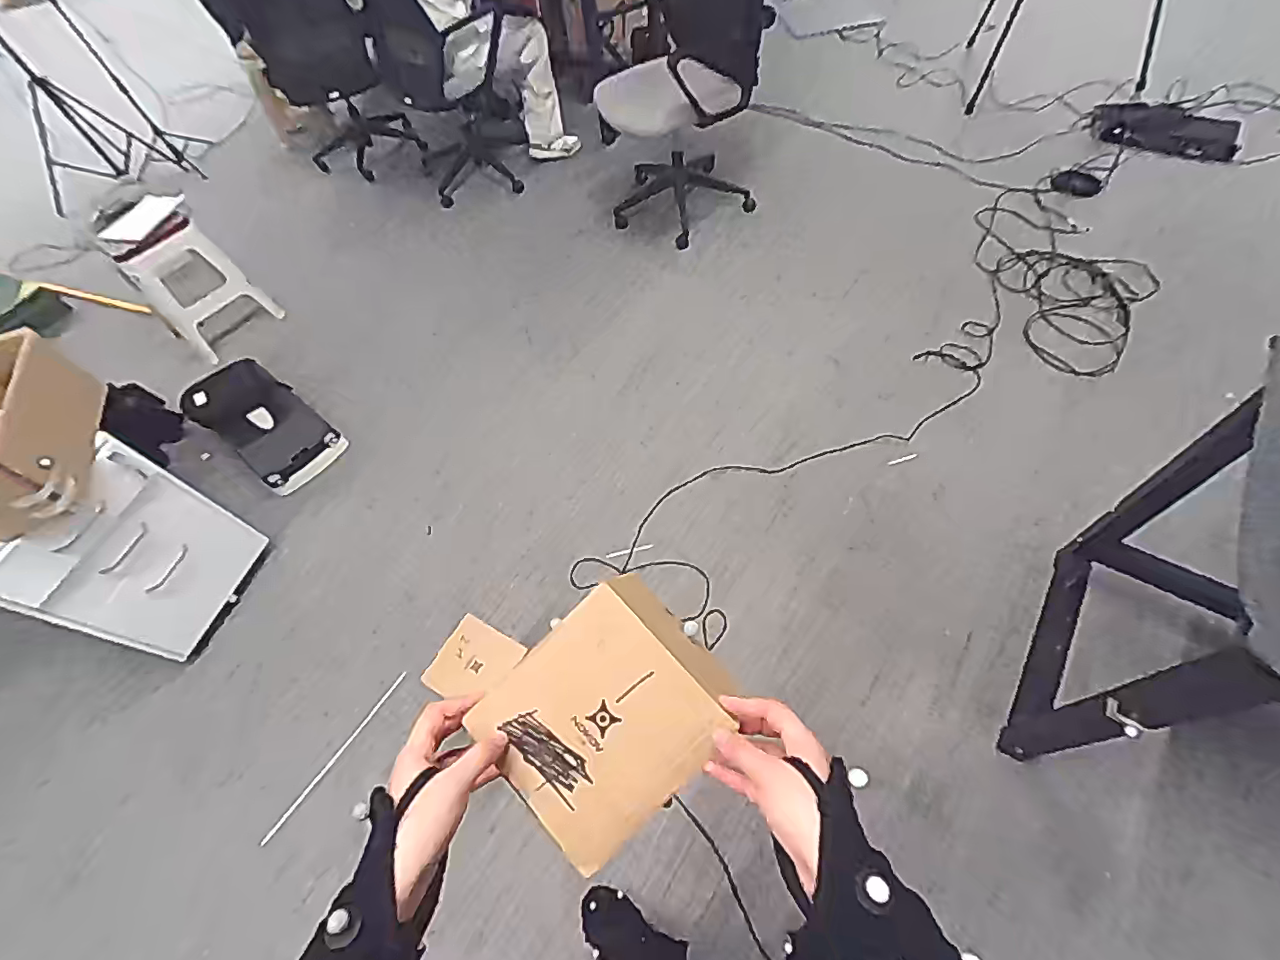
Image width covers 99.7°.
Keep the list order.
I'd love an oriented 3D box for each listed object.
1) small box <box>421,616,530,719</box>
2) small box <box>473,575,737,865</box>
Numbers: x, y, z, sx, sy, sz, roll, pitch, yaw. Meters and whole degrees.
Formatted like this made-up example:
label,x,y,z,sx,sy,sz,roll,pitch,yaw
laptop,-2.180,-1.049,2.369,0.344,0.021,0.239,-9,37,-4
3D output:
label,x,y,z,sx,sy,sz,roll,pitch,yaw
small box,-0.339,0.435,1.206,0.179,0.176,0.168,23,63,21
small box,-0.021,0.212,0.534,0.179,0.176,0.168,-44,79,1
